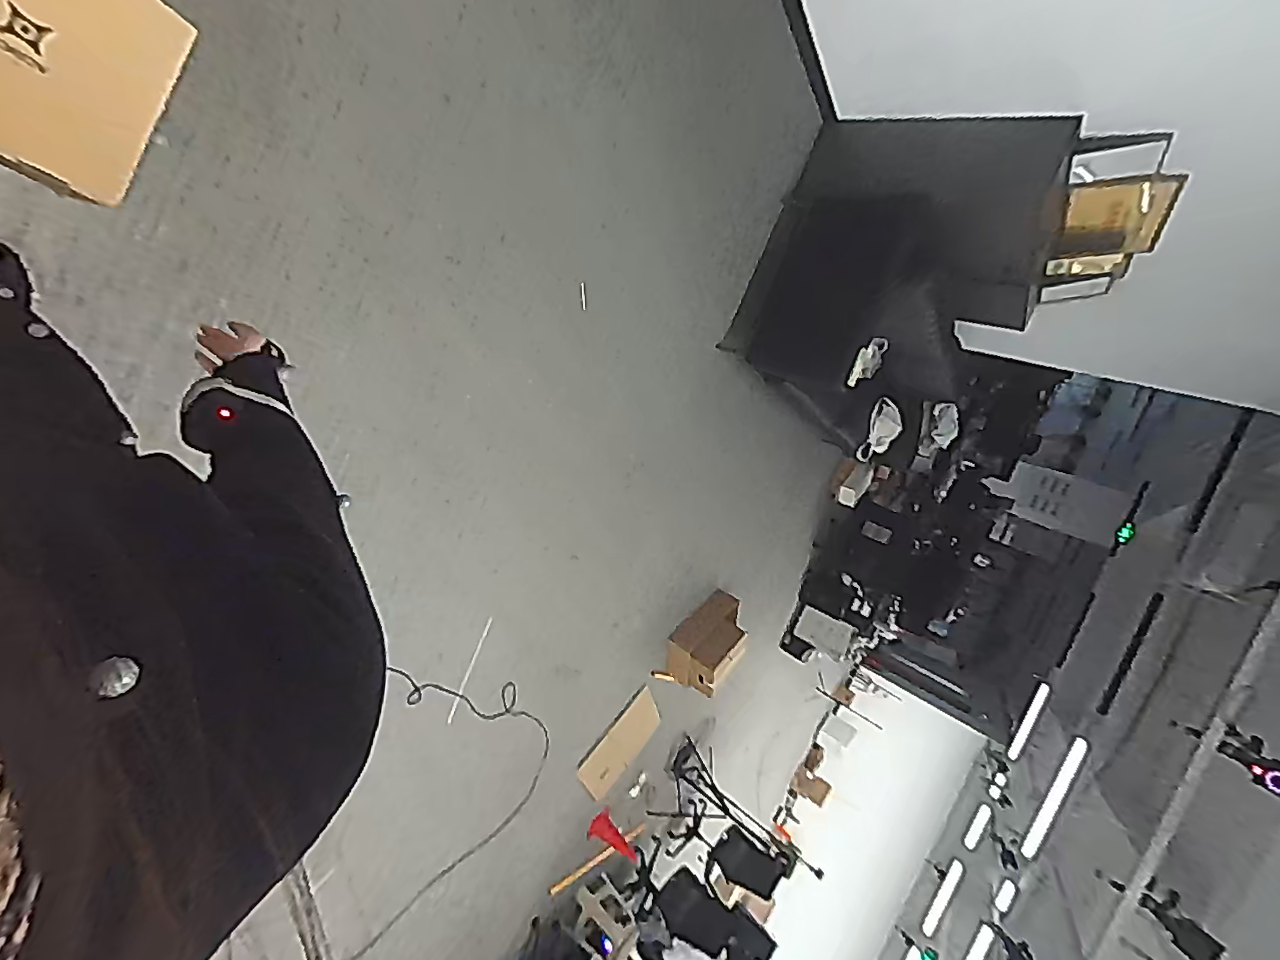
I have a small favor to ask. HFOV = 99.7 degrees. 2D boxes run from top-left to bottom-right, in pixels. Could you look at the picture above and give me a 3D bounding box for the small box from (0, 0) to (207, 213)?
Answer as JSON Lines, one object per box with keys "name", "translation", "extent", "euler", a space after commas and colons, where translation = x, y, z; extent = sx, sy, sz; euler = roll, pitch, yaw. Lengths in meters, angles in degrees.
{"name": "small box", "translation": [-0.516, -0.359, 0.452], "extent": [0.168, 0.176, 0.179], "euler": [22, 92, -57]}
